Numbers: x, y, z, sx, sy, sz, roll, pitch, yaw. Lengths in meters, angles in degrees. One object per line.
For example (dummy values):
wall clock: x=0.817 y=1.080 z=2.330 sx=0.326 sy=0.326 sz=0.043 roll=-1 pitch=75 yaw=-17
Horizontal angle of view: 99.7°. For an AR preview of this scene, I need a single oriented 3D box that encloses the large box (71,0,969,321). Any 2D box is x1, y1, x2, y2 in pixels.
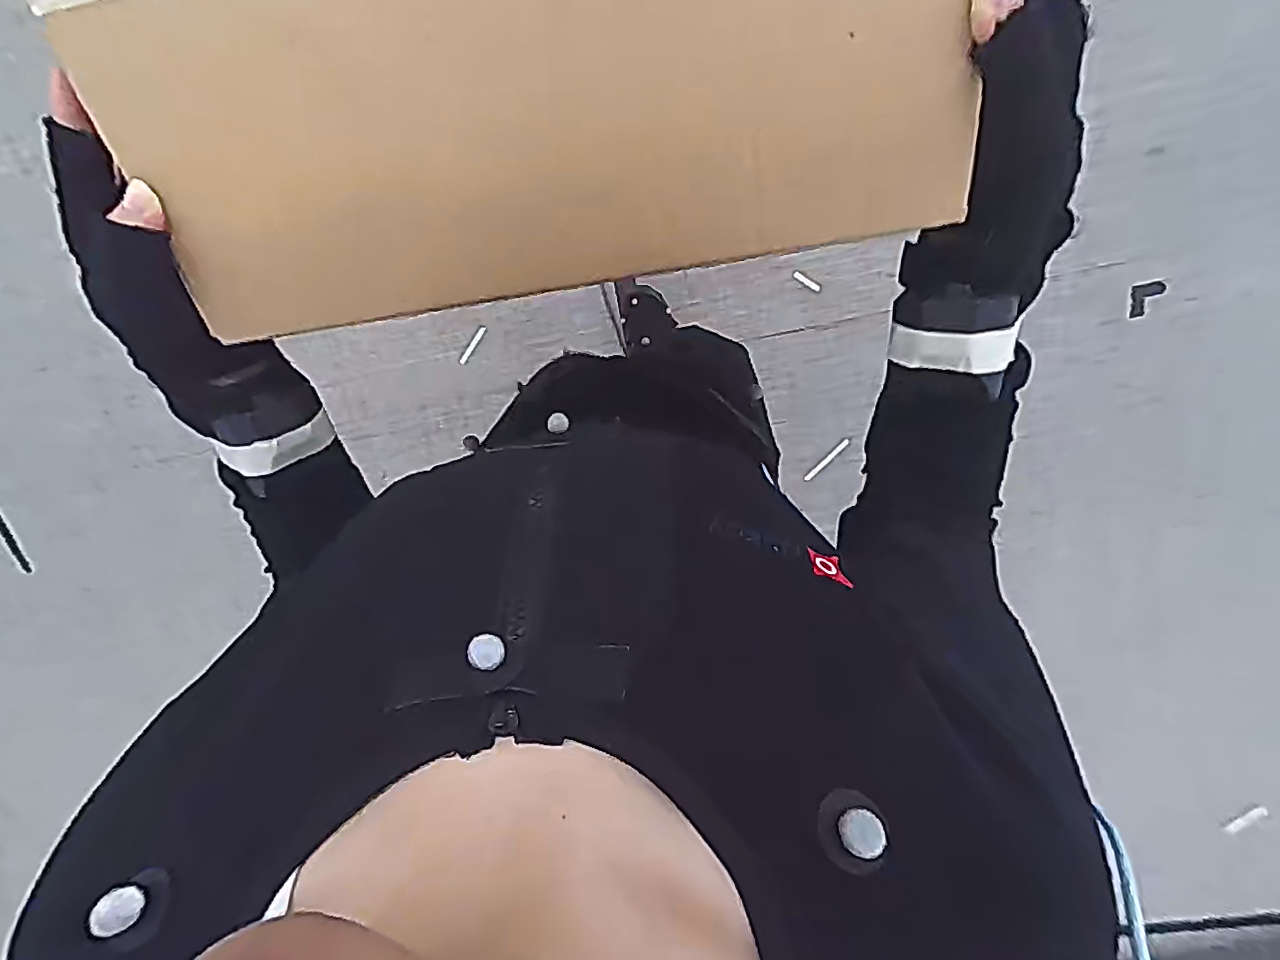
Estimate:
large box: x=-0.061 y=-0.323 z=0.351 sx=0.408 sy=0.320 sz=0.320 roll=-8 pitch=120 yaw=7
